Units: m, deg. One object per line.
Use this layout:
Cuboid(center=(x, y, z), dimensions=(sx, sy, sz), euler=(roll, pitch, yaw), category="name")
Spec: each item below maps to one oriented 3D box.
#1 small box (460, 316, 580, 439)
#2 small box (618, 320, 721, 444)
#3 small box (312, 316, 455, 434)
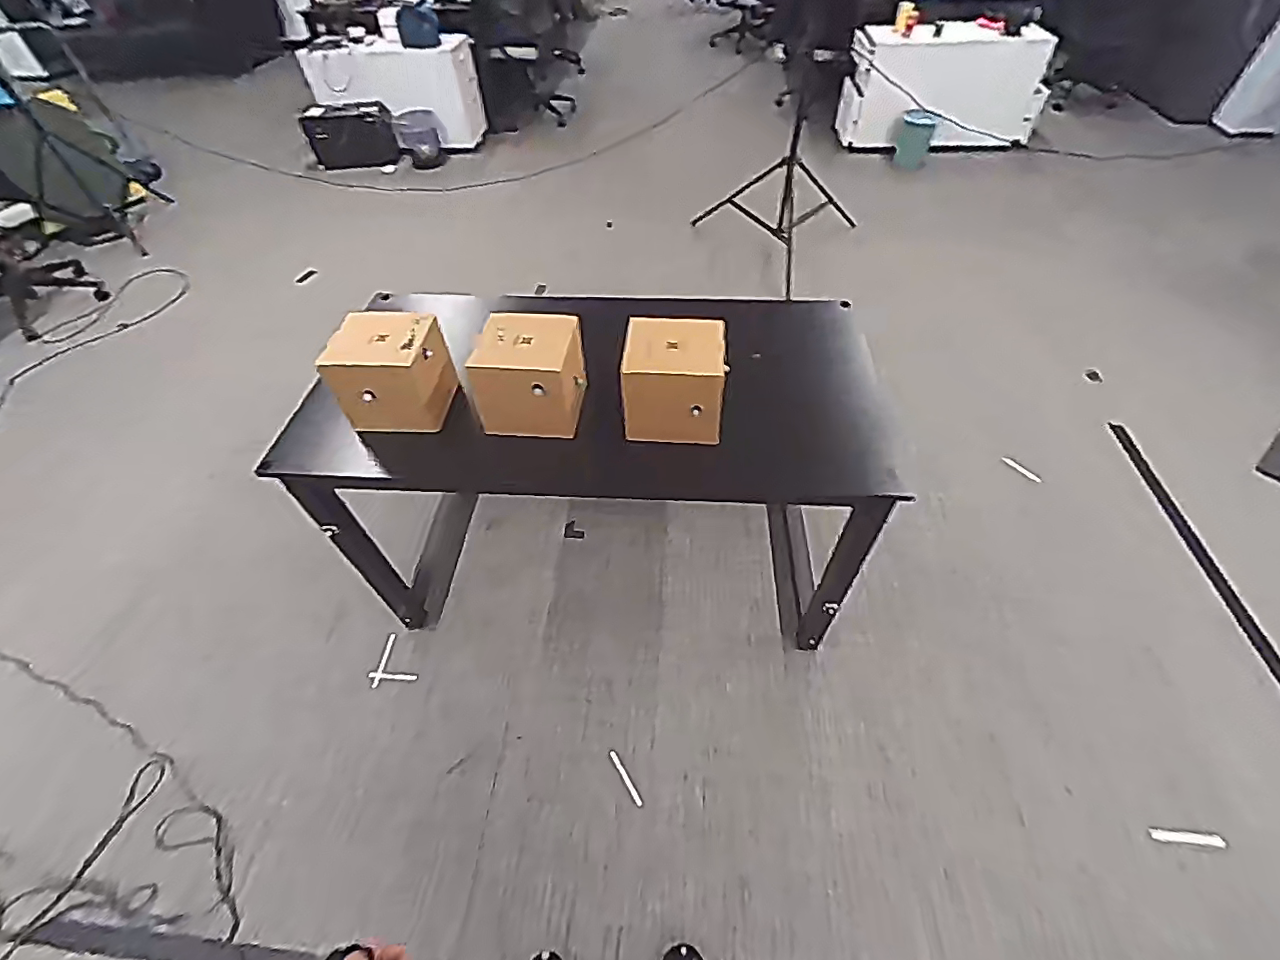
Cuboid(center=(-0.217, -0.195, 1.044), dimensions=(0.179, 0.176, 0.168), euler=(3, 50, 5), category="small box")
Cuboid(center=(0.055, -0.181, 1.021), dimensions=(0.179, 0.176, 0.168), euler=(2, 49, 3), category="small box")
Cuboid(center=(-0.489, -0.203, 1.063), dimensions=(0.179, 0.176, 0.168), euler=(0, 51, 3), category="small box")
